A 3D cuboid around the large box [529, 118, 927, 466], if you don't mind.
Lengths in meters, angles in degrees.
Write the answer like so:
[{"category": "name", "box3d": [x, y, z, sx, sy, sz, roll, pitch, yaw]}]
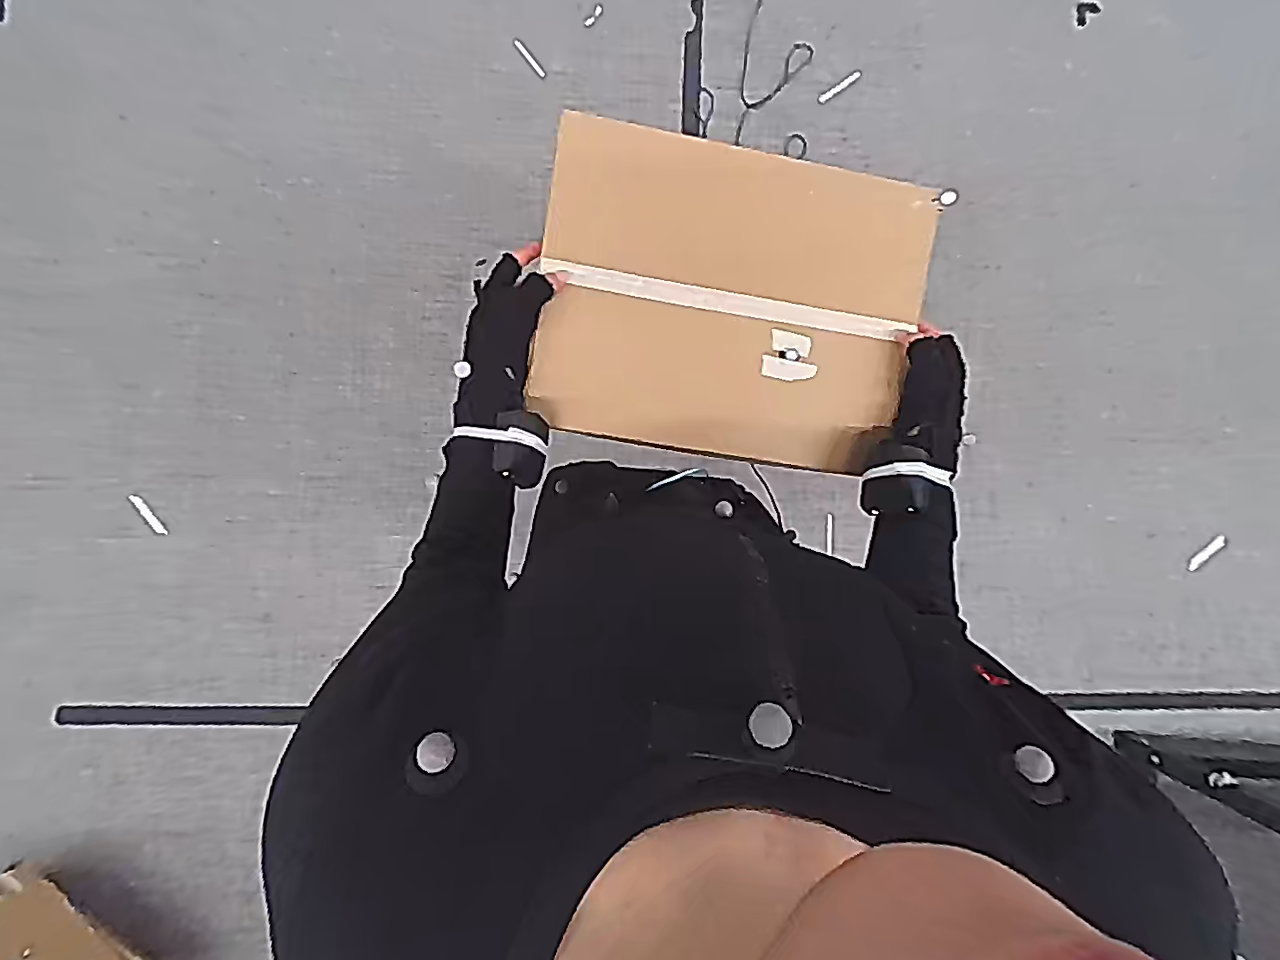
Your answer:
[{"category": "large box", "box3d": [0.083, -0.205, 0.727, 0.408, 0.320, 0.320, 9, 95, -6]}]
